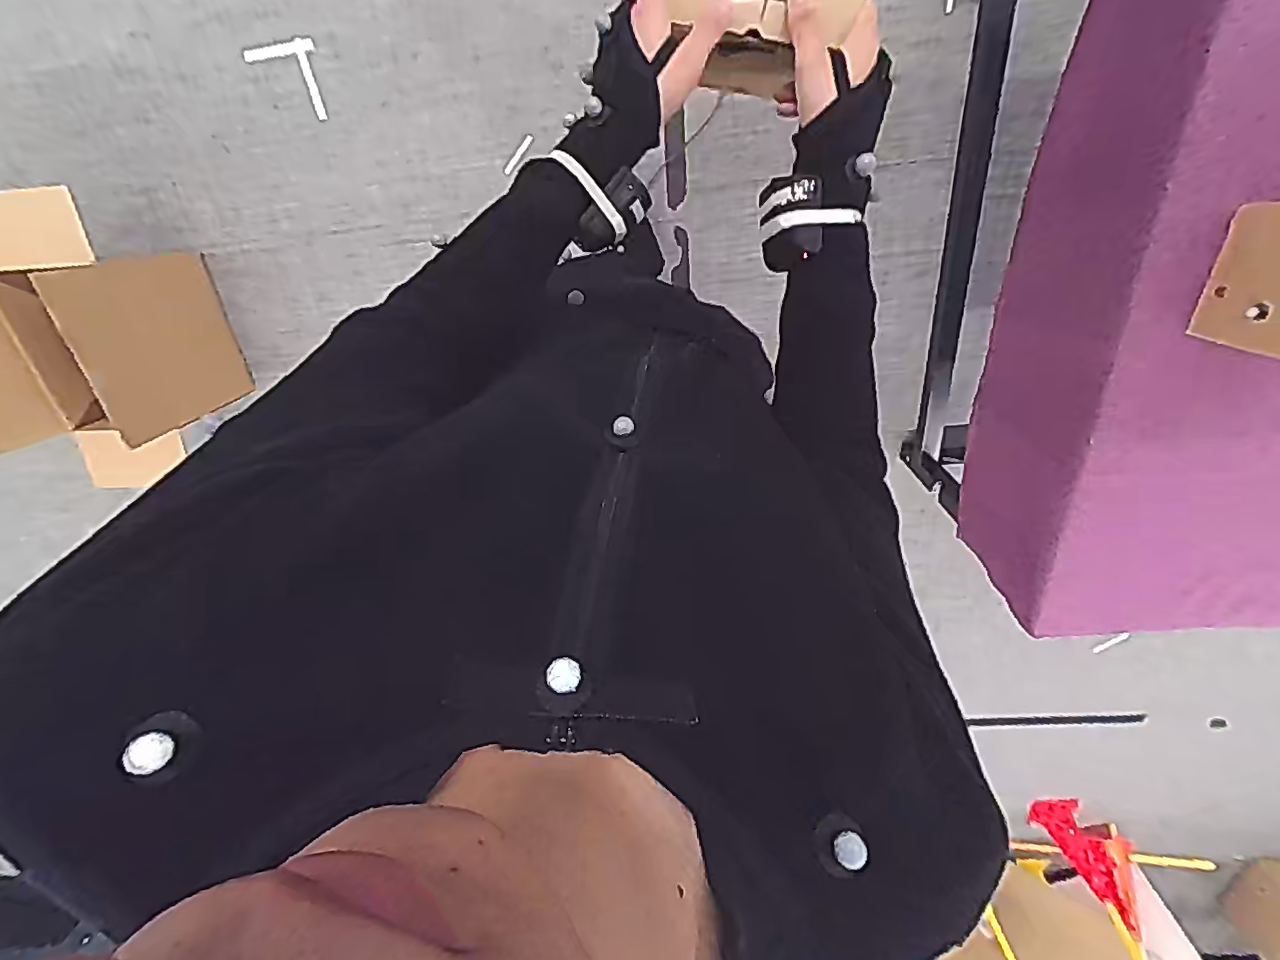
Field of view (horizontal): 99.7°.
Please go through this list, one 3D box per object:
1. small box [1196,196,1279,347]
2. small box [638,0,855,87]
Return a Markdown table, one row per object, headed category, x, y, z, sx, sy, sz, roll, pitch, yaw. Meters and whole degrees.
| category | x | y | z | sx | sy | sz | roll | pitch | yaw |
| --- | --- | --- | --- | --- | --- | --- | --- | --- | --- |
| small box | 0.852 | -0.250 | 0.649 | 0.179 | 0.176 | 0.168 | -1 | 119 | 3 |
| small box | 0.089 | -0.463 | 0.459 | 0.168 | 0.176 | 0.179 | 5 | 113 | -5 |
